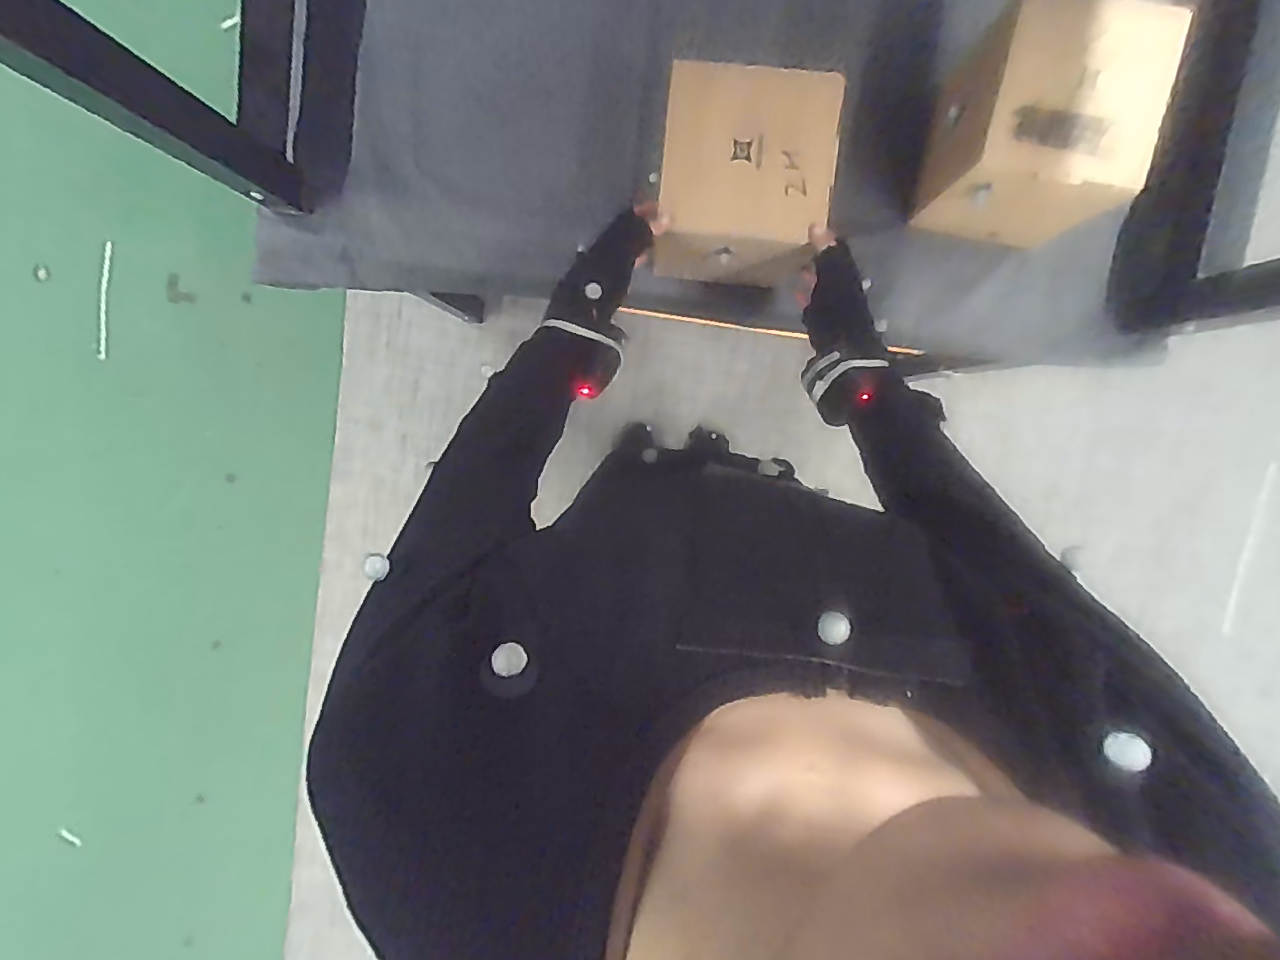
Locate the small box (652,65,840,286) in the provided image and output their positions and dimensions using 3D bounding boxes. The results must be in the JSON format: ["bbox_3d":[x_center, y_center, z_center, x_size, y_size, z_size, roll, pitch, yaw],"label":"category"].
[{"bbox_3d":[0.108,-0.335,0.629,0.179,0.176,0.168,6,96,0],"label":"small box"}]
